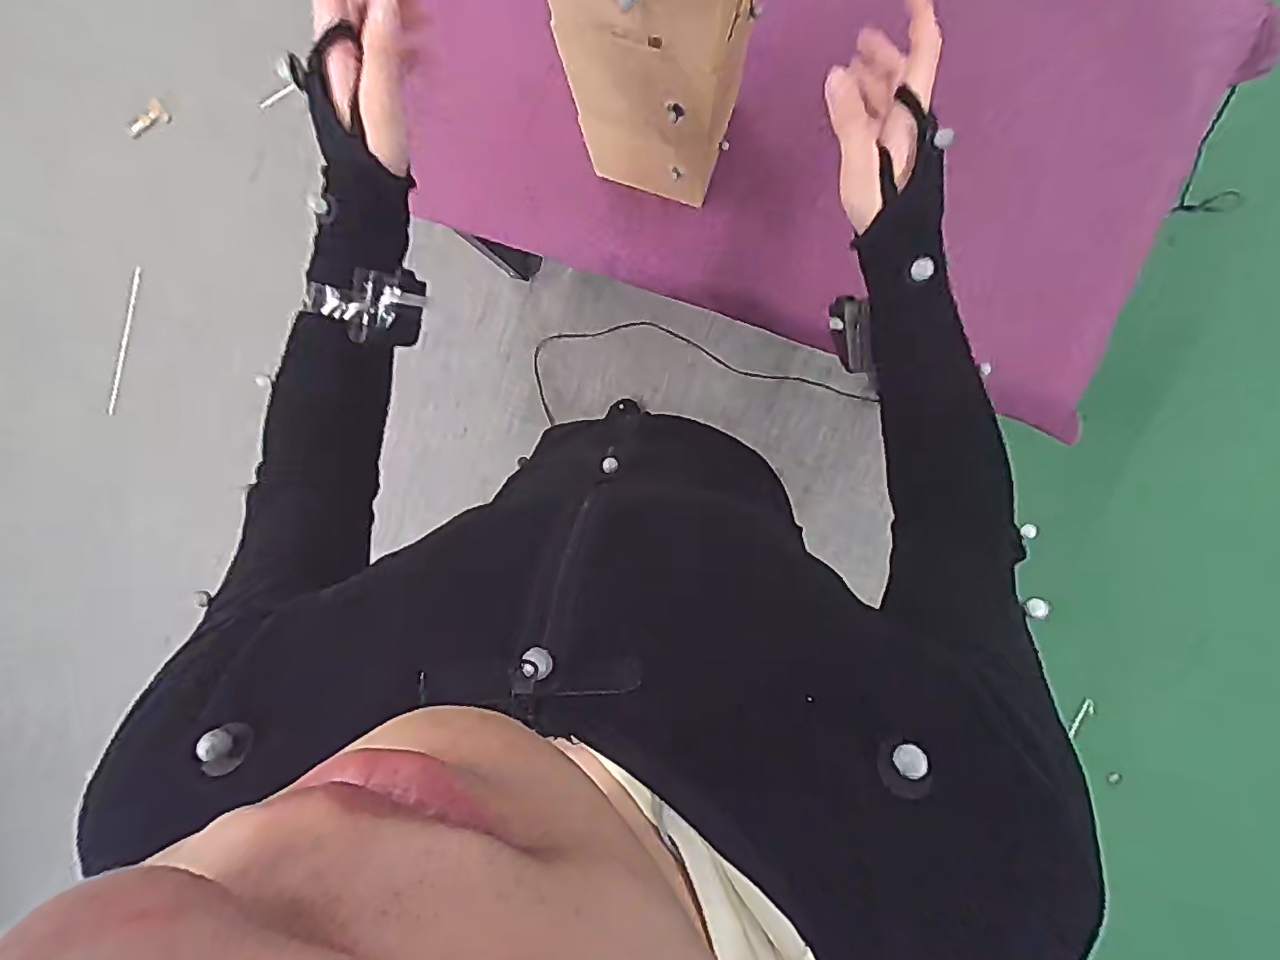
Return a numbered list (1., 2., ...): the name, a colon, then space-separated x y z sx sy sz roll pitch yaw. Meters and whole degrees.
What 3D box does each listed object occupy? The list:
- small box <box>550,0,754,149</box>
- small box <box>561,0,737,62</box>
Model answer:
1. small box: 0.024 -0.501 0.595 0.179 0.176 0.168 19 97 2
2. small box: 0.015 -0.489 0.432 0.168 0.176 0.179 17 98 1
